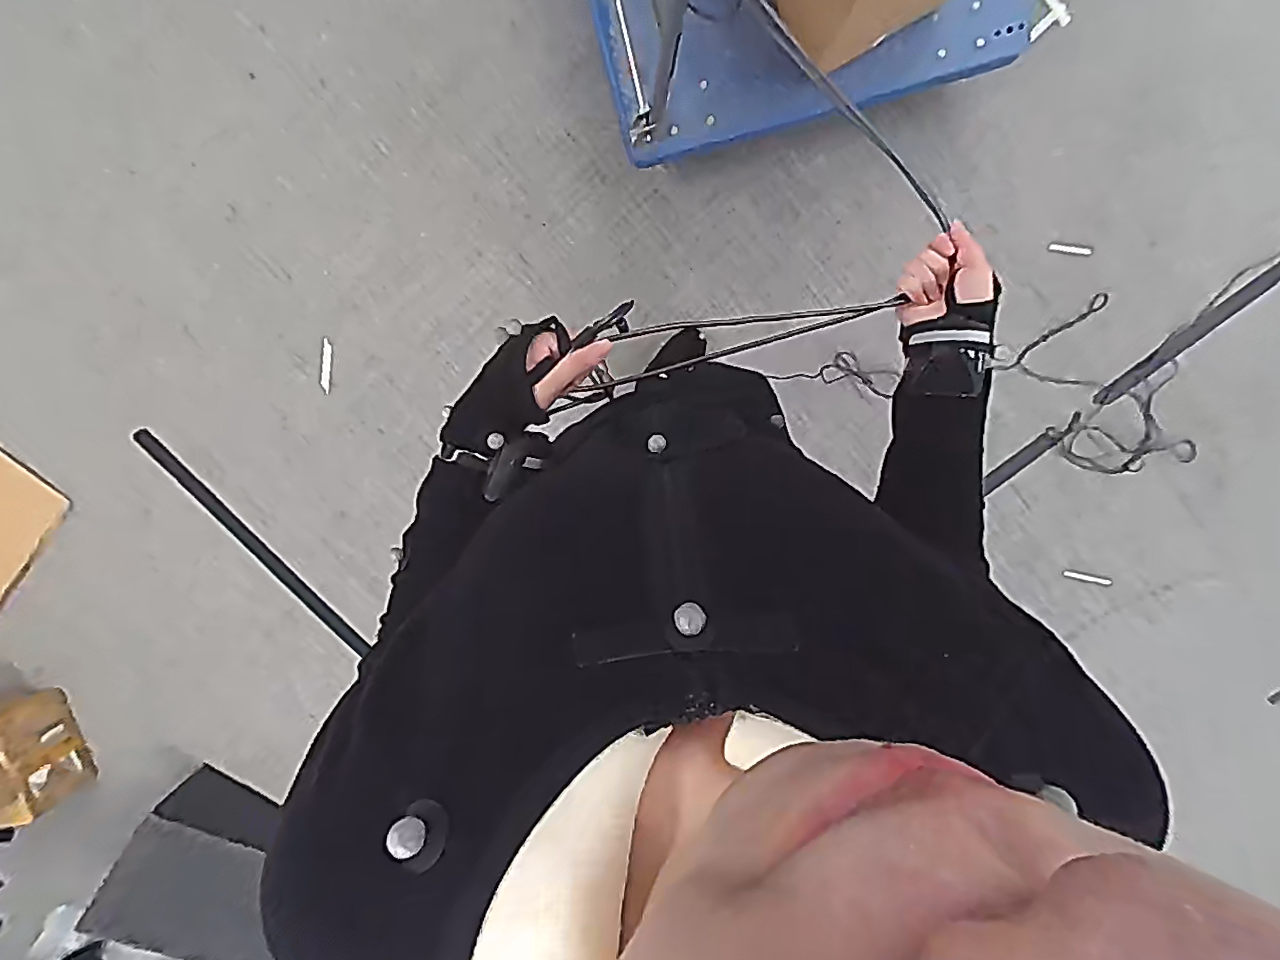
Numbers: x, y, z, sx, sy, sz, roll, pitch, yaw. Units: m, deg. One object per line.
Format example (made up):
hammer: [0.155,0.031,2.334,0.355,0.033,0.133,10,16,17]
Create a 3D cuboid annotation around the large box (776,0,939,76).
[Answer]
large box: [0.394,-1.050,0.940,0.320,0.320,0.408,-28,102,7]
